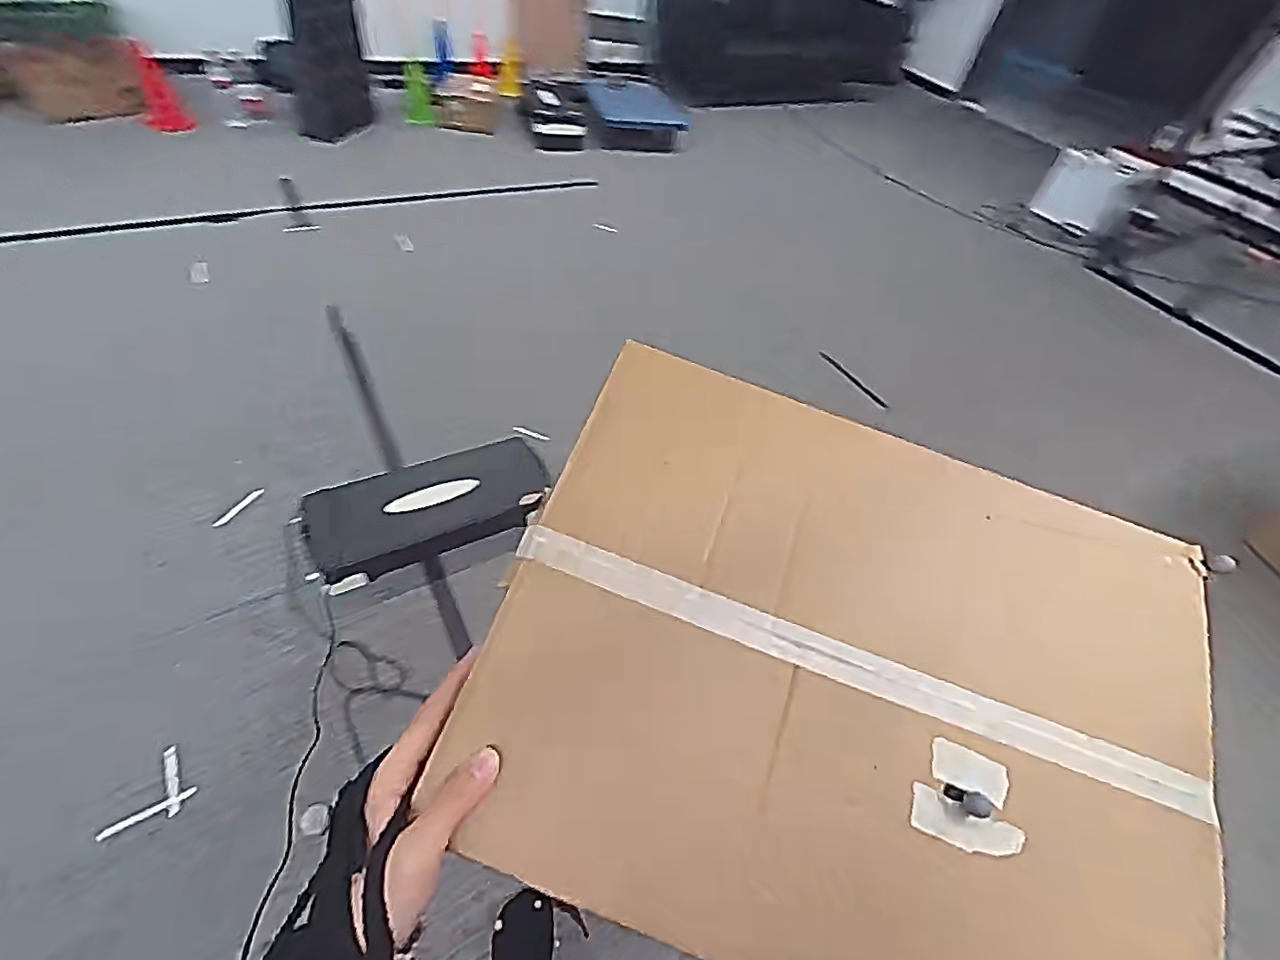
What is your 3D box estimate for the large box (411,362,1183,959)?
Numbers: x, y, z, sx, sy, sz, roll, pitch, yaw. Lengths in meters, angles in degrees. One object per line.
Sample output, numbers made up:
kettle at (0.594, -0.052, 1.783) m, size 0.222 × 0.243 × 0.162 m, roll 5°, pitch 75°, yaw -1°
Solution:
large box at (0.101, 0.164, 0.455) m, size 0.408 × 0.320 × 0.320 m, roll 20°, pitch 69°, yaw 2°
